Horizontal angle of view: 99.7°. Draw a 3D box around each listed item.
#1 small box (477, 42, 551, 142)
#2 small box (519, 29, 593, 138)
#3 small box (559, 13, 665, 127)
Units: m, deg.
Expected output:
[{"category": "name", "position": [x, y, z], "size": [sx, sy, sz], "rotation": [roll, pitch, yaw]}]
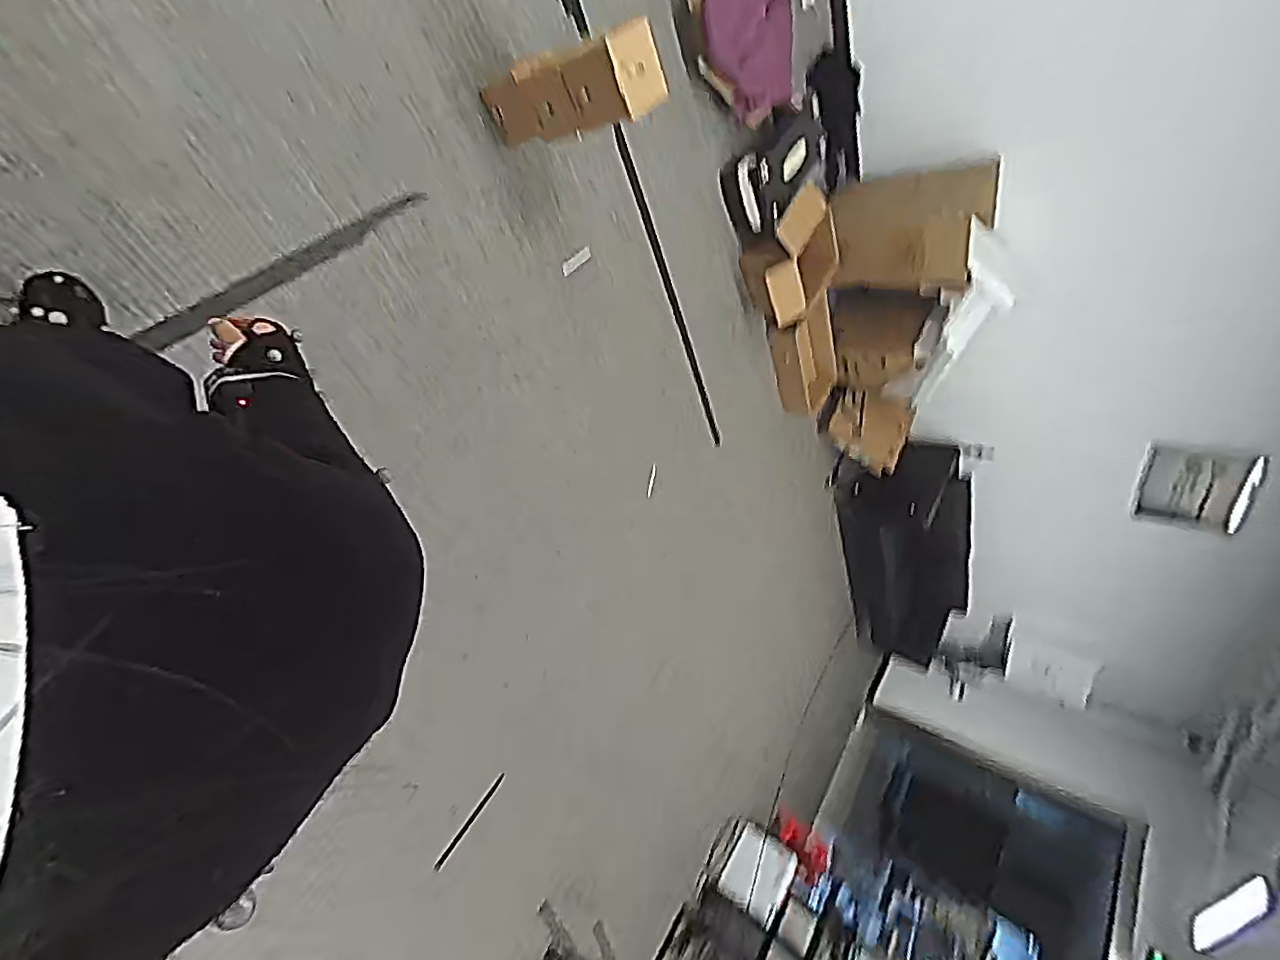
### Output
[{"category": "small box", "position": [-0.330, -1.109, 1.554], "size": [0.179, 0.176, 0.168], "rotation": [-54, 136, -23]}, {"category": "small box", "position": [-0.201, -1.064, 1.463], "size": [0.179, 0.176, 0.168], "rotation": [-55, 137, -22]}, {"category": "small box", "position": [-0.071, -1.028, 1.365], "size": [0.179, 0.176, 0.168], "rotation": [-52, 135, -26]}]
